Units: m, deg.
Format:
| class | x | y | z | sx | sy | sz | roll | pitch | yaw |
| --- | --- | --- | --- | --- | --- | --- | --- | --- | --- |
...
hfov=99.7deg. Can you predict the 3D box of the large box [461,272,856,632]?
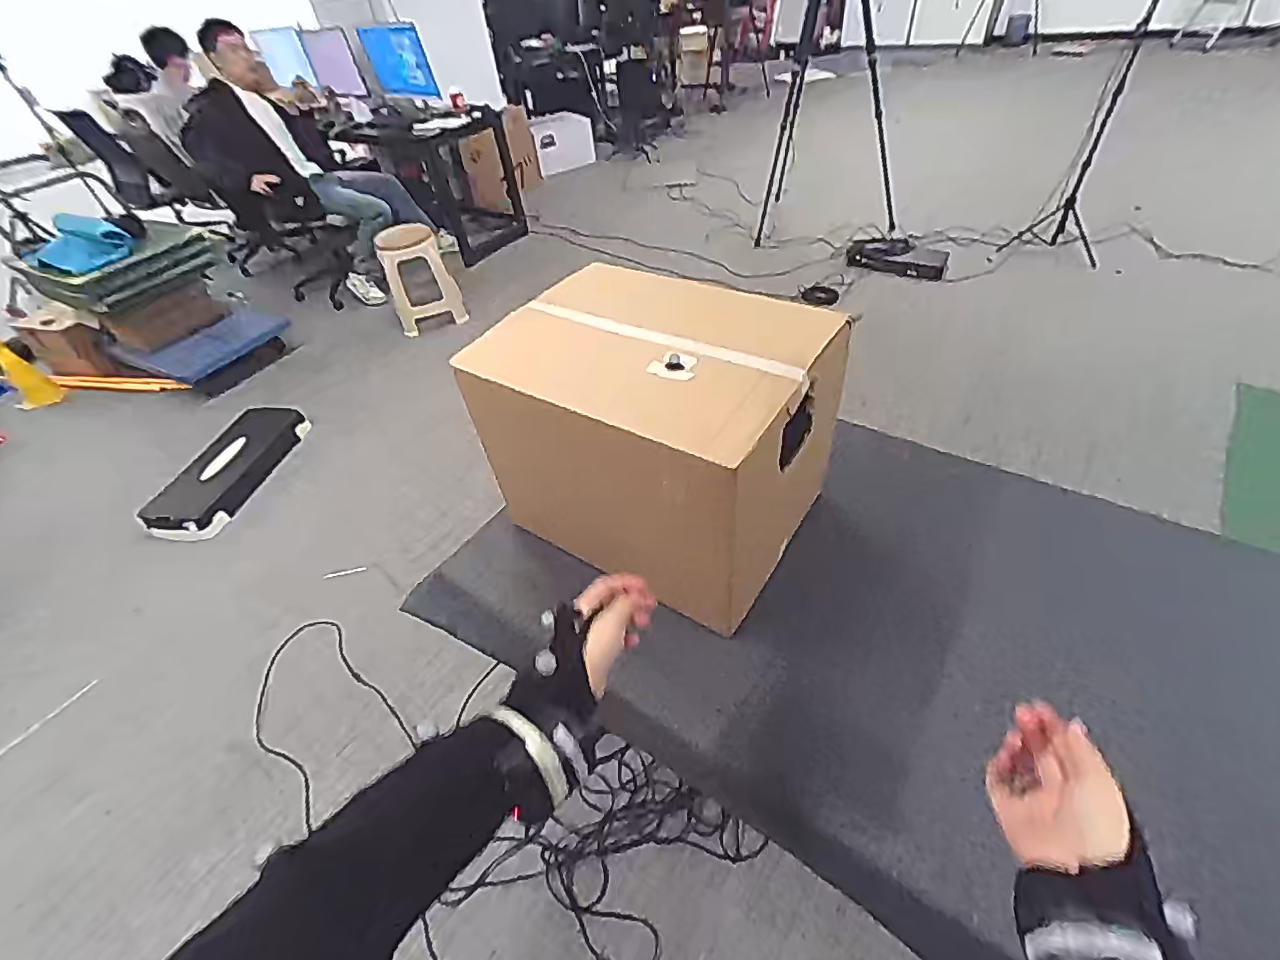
| class | x | y | z | sx | sy | sz | roll | pitch | yaw |
| --- | --- | --- | --- | --- | --- | --- | --- | --- | --- |
| large box | 0.032 | -0.059 | 0.774 | 0.408 | 0.320 | 0.320 | 23 | 52 | 26 |
